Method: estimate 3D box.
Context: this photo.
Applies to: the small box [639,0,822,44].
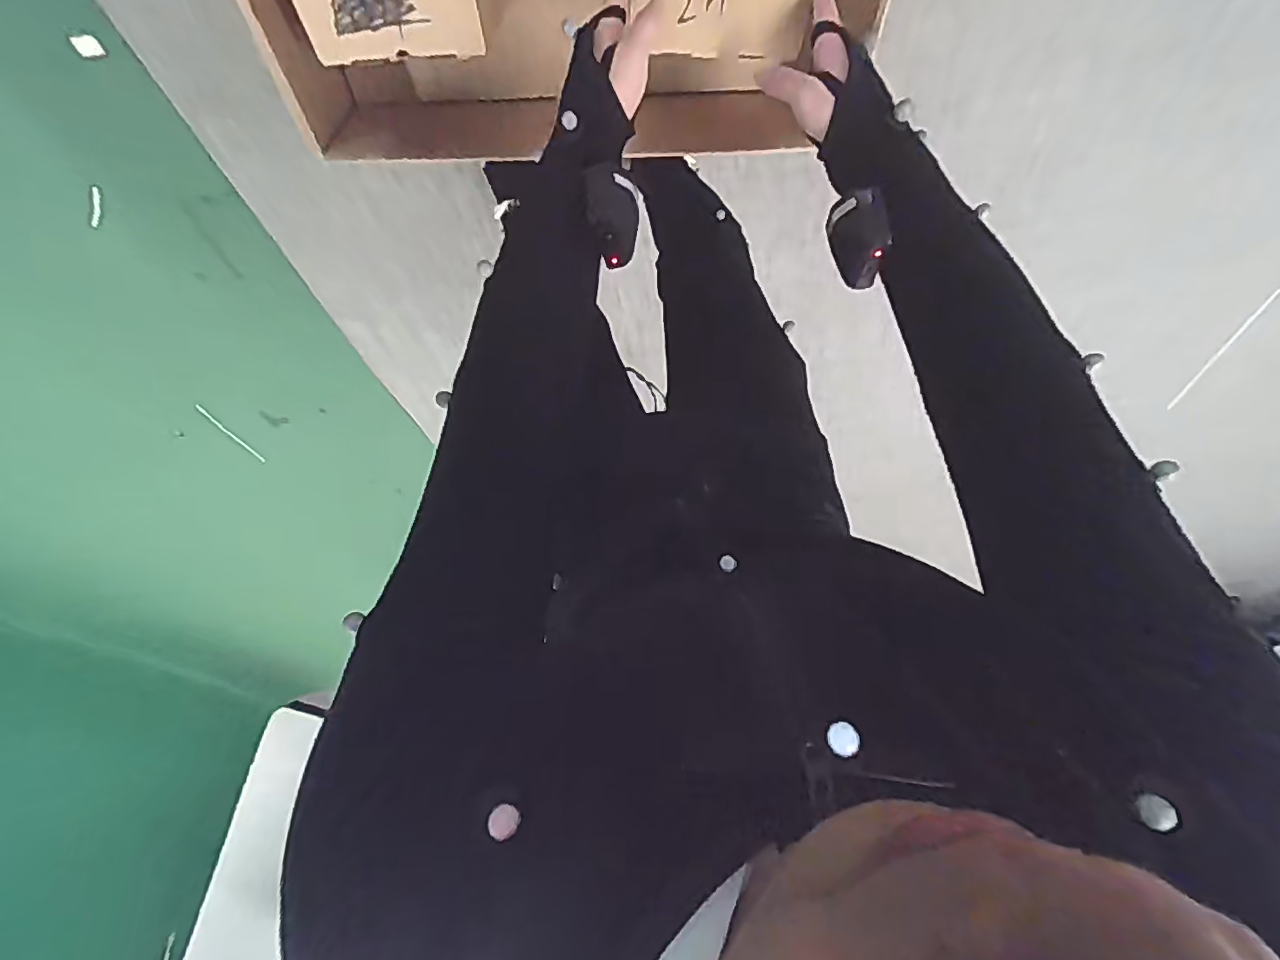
[{"bbox_3d":[0.082,-0.524,0.476,0.168,0.176,0.179,1,146,-2],"label":"small box"}]
